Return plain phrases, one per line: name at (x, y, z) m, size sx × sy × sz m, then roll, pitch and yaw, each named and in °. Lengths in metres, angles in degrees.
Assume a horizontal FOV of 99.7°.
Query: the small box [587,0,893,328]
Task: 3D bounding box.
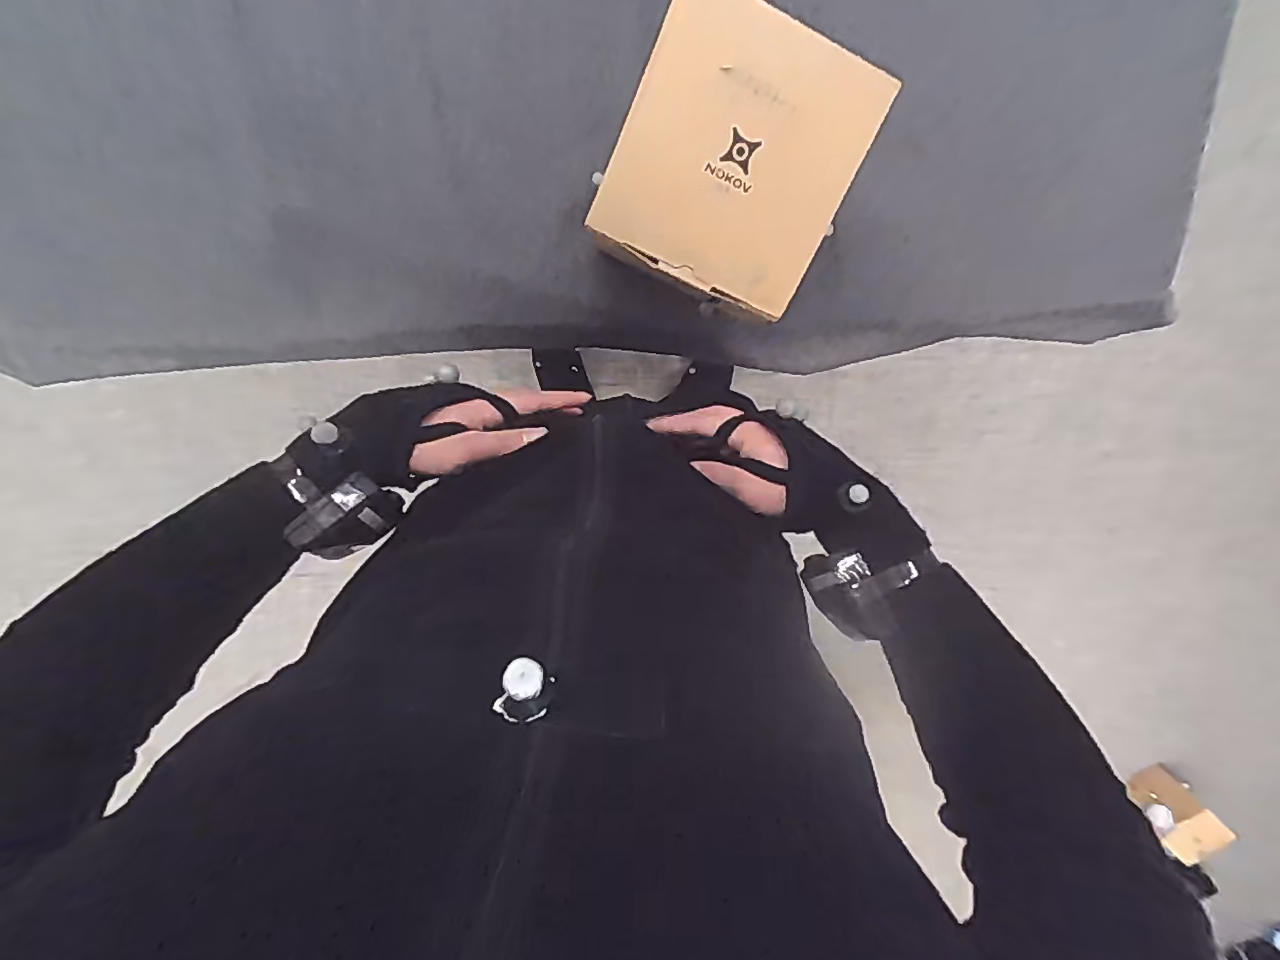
small box at (0.066, -0.246, 0.460) m, size 0.168 × 0.176 × 0.179 m, roll 22°, pitch 105°, yaw -9°
